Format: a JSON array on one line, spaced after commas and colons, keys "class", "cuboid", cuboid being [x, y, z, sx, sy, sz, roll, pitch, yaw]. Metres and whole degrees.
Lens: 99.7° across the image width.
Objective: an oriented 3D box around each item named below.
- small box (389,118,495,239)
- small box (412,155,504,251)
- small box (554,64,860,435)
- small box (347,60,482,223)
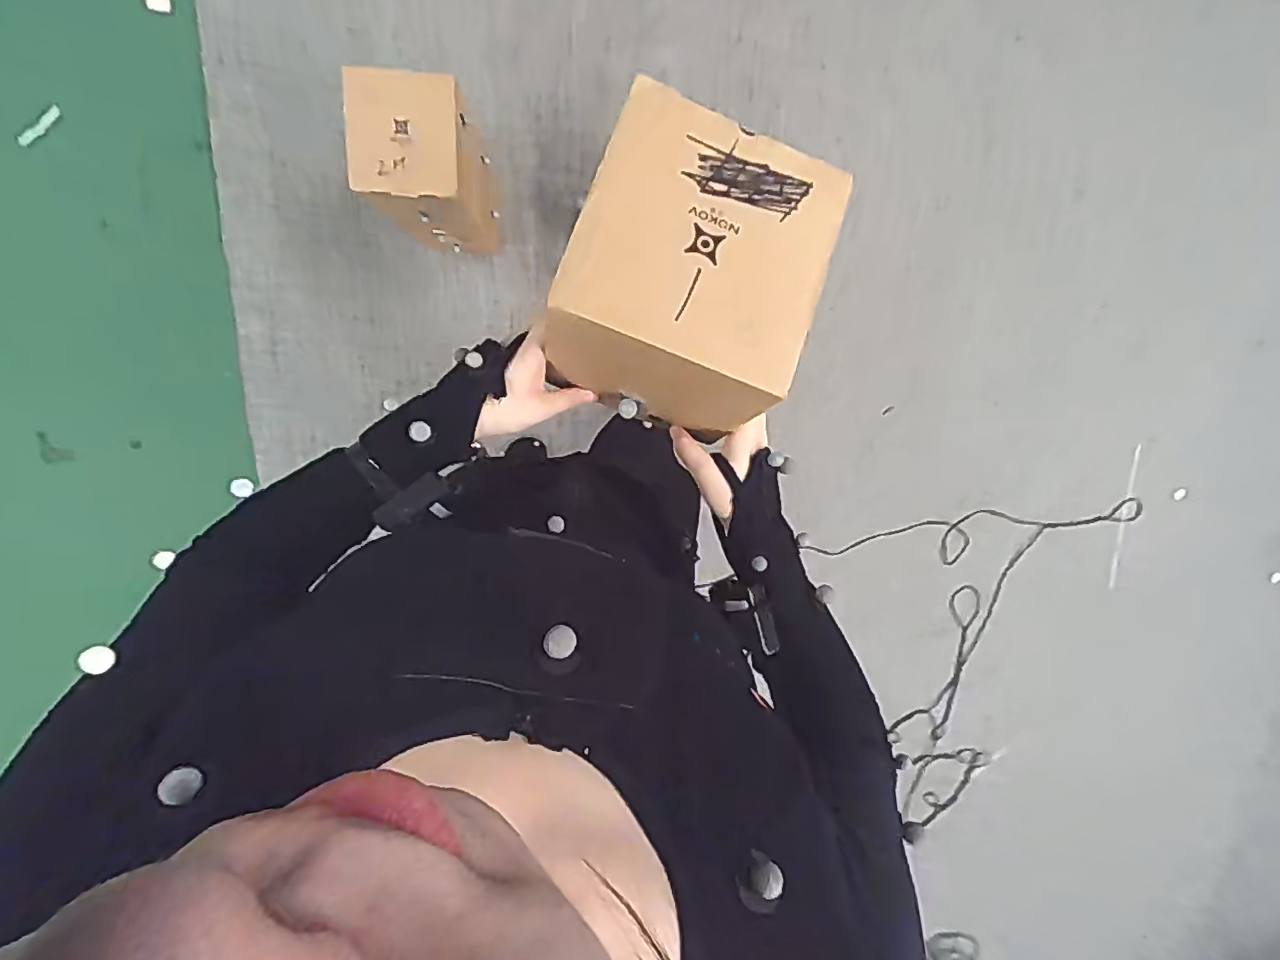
[{"class": "small box", "cuboid": [-0.383, -0.588, 1.059, 0.168, 0.176, 0.179, 2, 104, -5]}, {"class": "small box", "cuboid": [-0.403, -0.626, 1.216, 0.168, 0.176, 0.179, 5, 103, -7]}, {"class": "small box", "cuboid": [0.036, -0.154, 0.424, 0.168, 0.176, 0.179, 20, 81, -6]}, {"class": "small box", "cuboid": [-0.364, -0.549, 0.900, 0.168, 0.176, 0.179, 2, 102, -5]}]
